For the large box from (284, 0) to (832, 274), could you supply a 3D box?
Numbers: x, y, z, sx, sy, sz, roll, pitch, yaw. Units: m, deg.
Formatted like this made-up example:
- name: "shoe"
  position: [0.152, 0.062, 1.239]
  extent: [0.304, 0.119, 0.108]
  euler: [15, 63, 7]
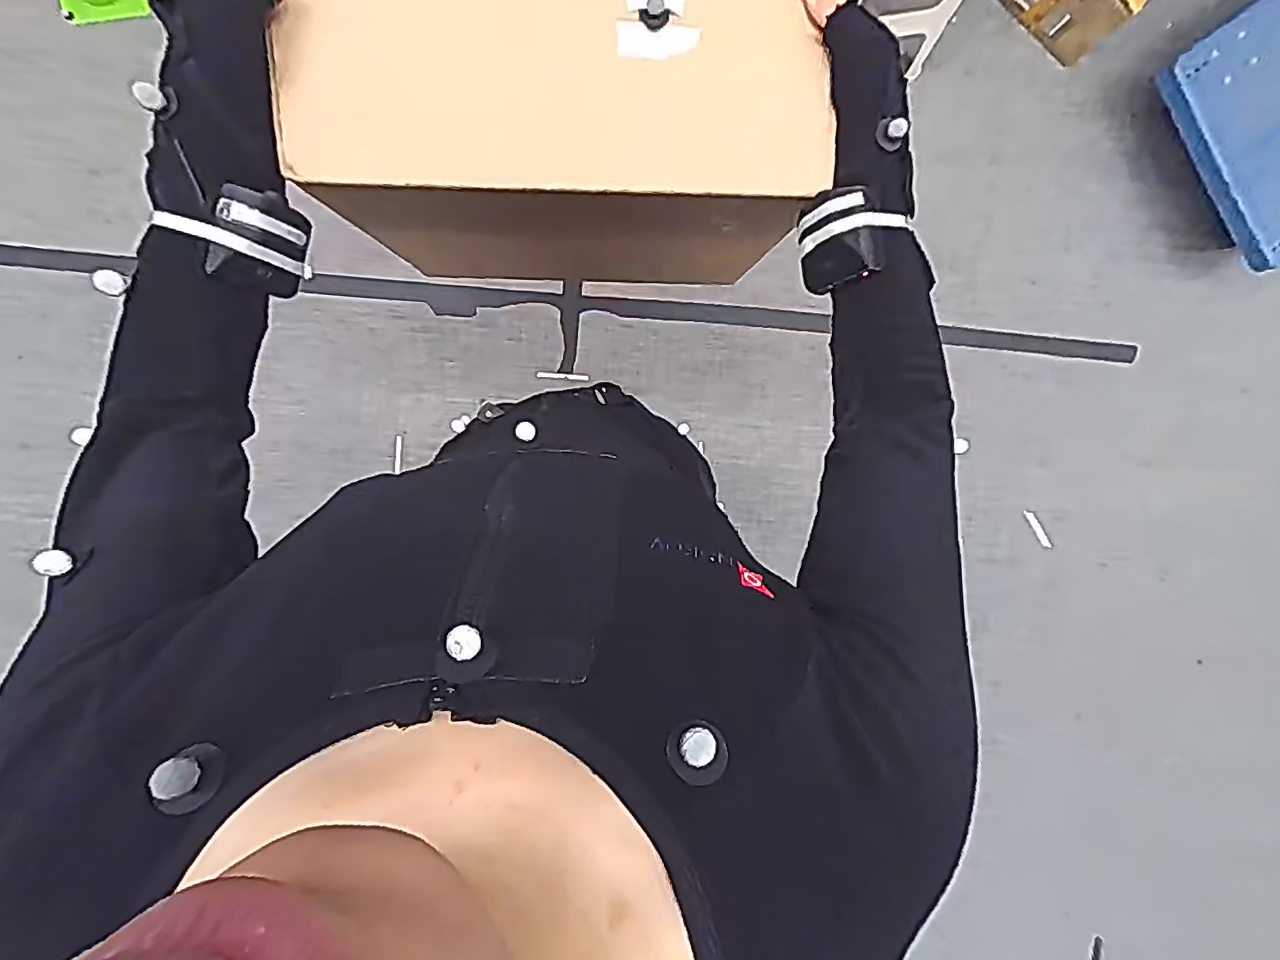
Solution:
- name: "large box"
  position: [-0.064, -0.400, 0.535]
  extent: [0.408, 0.320, 0.320]
  euler: [0, 99, -4]
